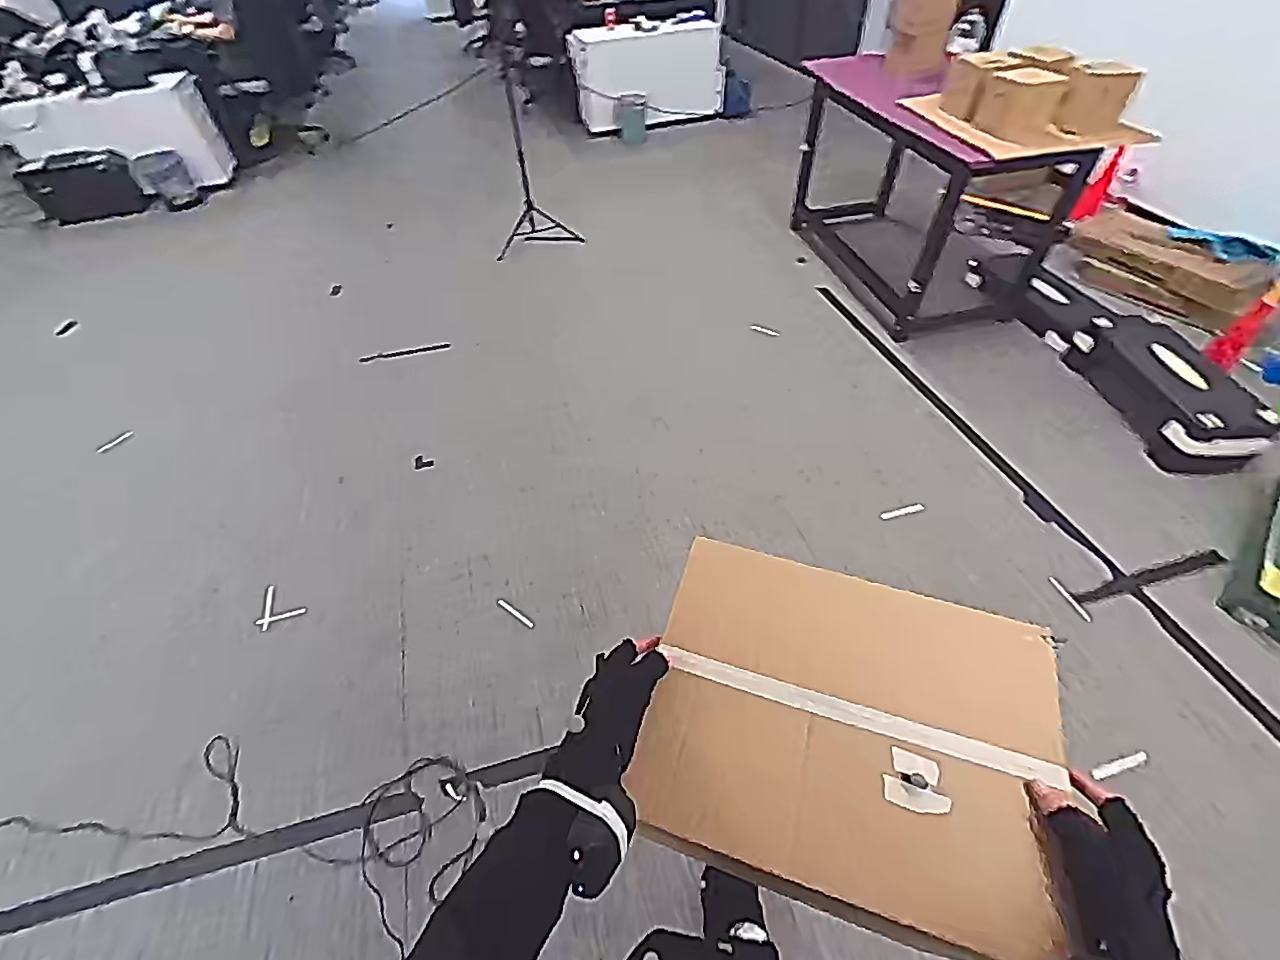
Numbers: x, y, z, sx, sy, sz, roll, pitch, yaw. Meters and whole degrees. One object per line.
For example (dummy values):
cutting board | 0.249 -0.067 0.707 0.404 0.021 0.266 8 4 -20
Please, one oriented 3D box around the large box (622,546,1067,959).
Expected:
large box | 0.217 0.331 0.692 0.408 0.320 0.320 14 57 12
